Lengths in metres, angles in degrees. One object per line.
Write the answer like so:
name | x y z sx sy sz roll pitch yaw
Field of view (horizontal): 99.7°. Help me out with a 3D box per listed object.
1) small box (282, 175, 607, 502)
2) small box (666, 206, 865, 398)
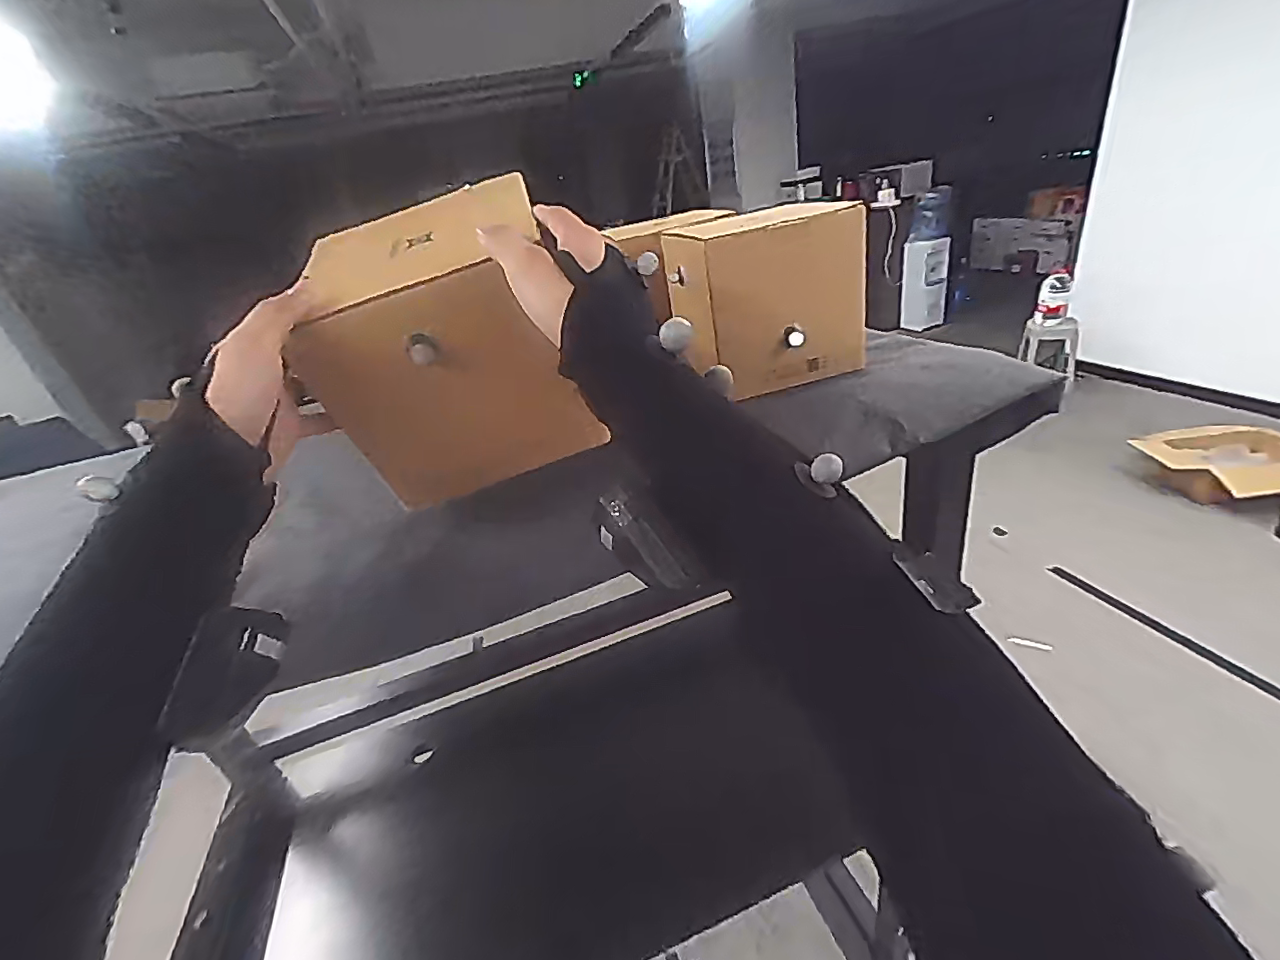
small box | -0.135 -0.112 0.438 0.179 0.176 0.168 -19 44 0
small box | 0.138 -0.209 0.628 0.168 0.176 0.179 -15 29 -5
